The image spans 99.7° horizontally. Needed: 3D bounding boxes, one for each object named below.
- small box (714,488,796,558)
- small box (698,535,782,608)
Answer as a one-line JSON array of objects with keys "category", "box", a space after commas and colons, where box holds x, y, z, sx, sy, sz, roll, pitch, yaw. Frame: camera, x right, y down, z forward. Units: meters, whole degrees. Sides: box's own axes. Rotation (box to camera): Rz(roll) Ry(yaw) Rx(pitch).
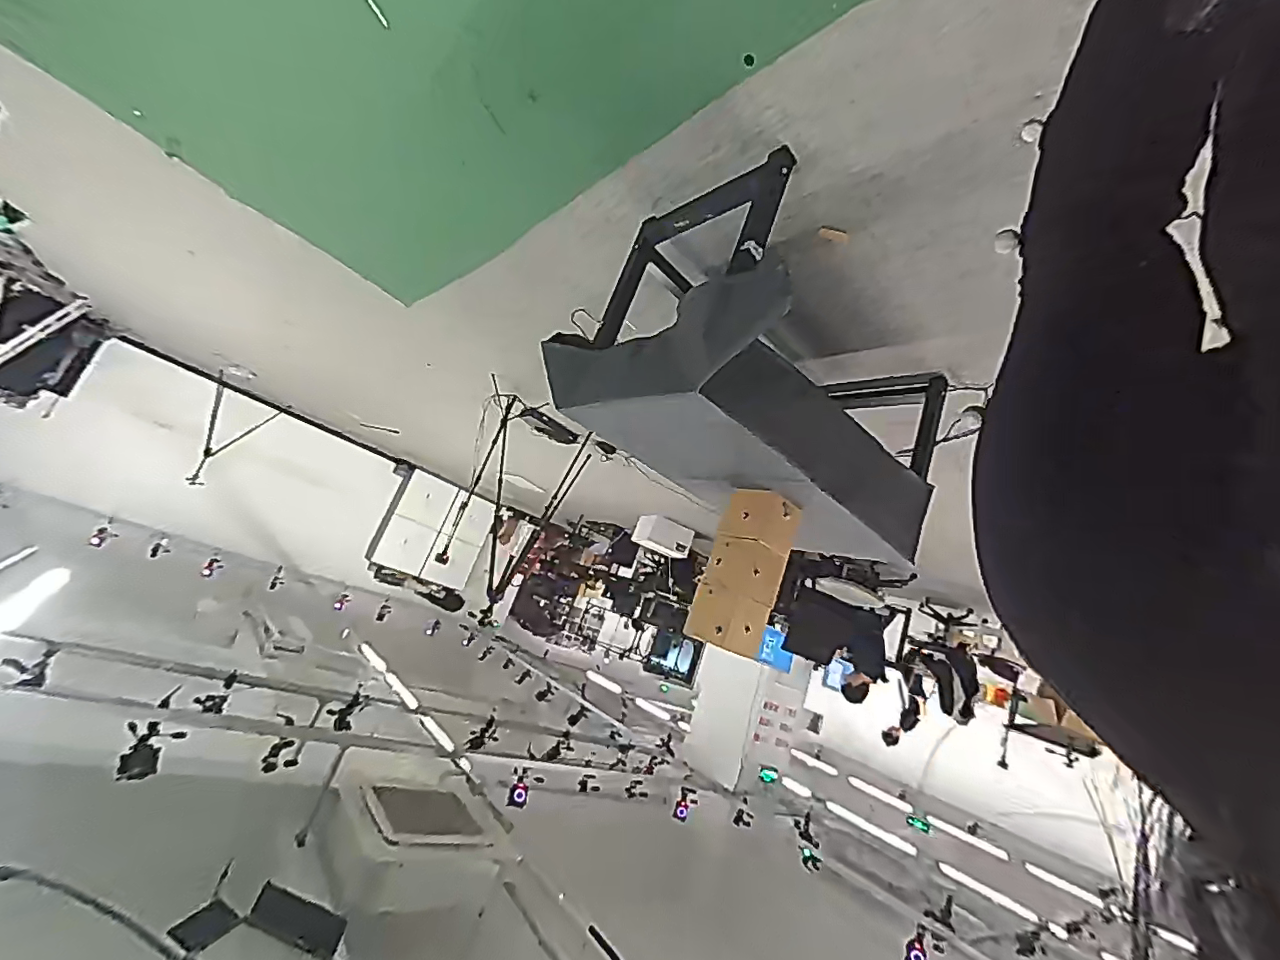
[{"category": "small box", "box": [0.371, 0.134, 1.733, 0.168, 0.176, 0.179, 31, 162, -37]}, {"category": "small box", "box": [0.316, 0.283, 1.699, 0.179, 0.176, 0.168, 30, 164, -35]}]
